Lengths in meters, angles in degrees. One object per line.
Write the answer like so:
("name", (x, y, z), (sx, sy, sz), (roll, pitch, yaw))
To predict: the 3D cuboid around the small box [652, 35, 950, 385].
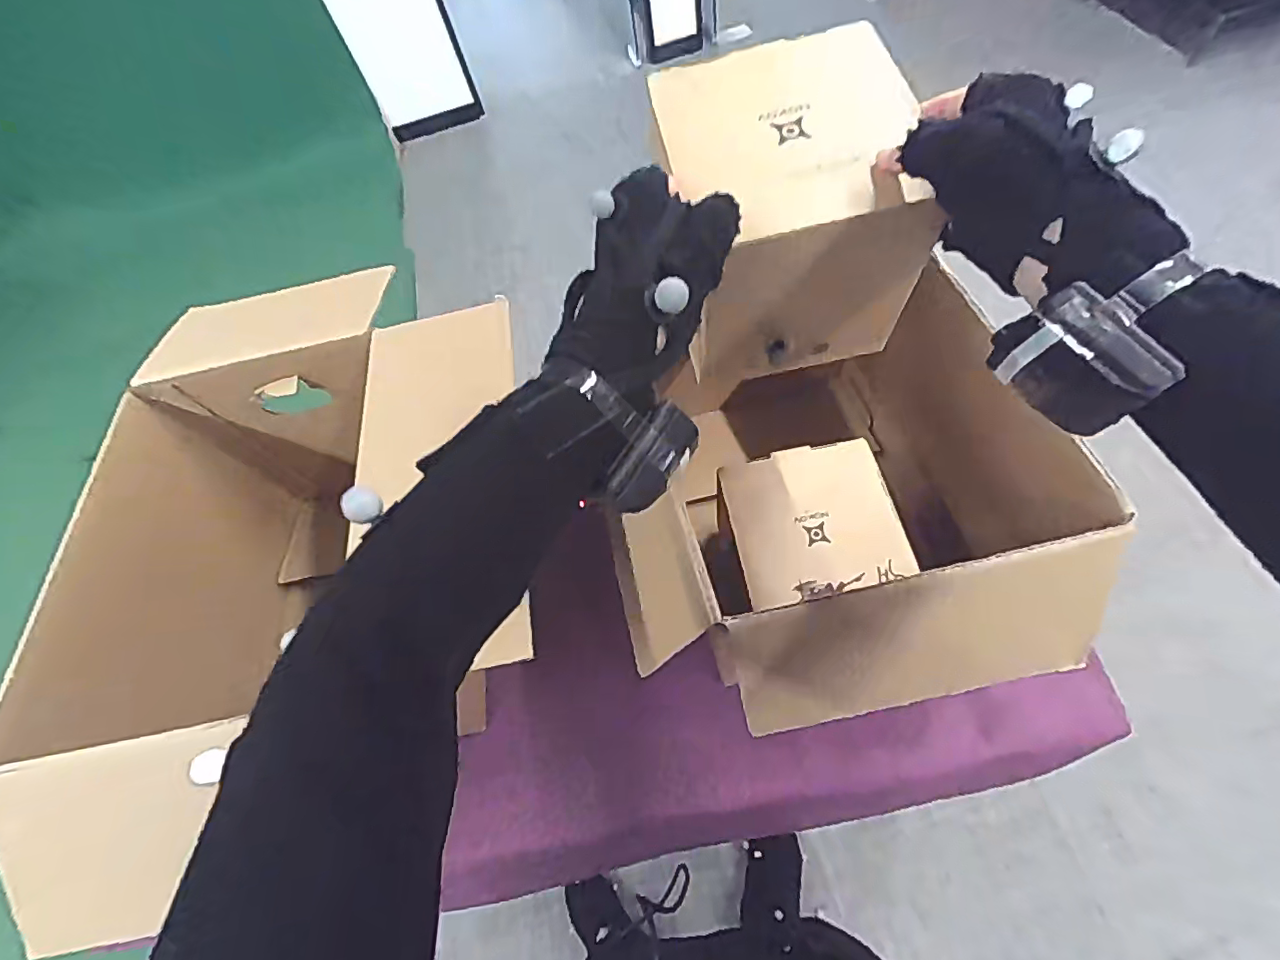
("small box", (0.110, -0.207, 0.444), (0.168, 0.176, 0.179), (-12, 67, 3))
